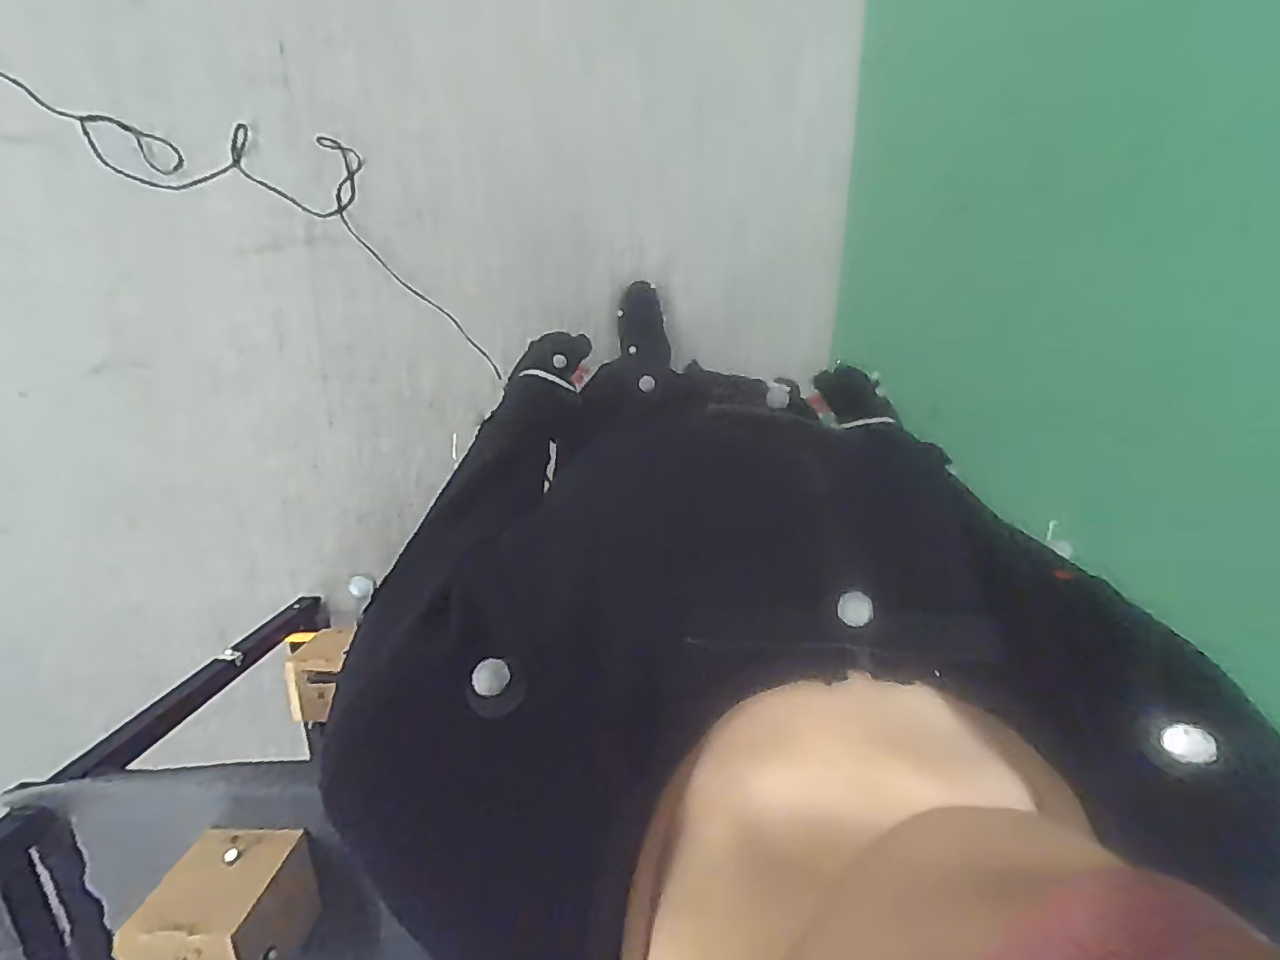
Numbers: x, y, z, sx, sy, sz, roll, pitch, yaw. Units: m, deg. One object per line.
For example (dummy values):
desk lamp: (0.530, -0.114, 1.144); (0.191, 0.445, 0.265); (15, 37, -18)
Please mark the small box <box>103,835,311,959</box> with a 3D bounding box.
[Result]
small box: (-0.628, 0.677, 0.812); (0.168, 0.176, 0.179); (-1, 104, 0)
